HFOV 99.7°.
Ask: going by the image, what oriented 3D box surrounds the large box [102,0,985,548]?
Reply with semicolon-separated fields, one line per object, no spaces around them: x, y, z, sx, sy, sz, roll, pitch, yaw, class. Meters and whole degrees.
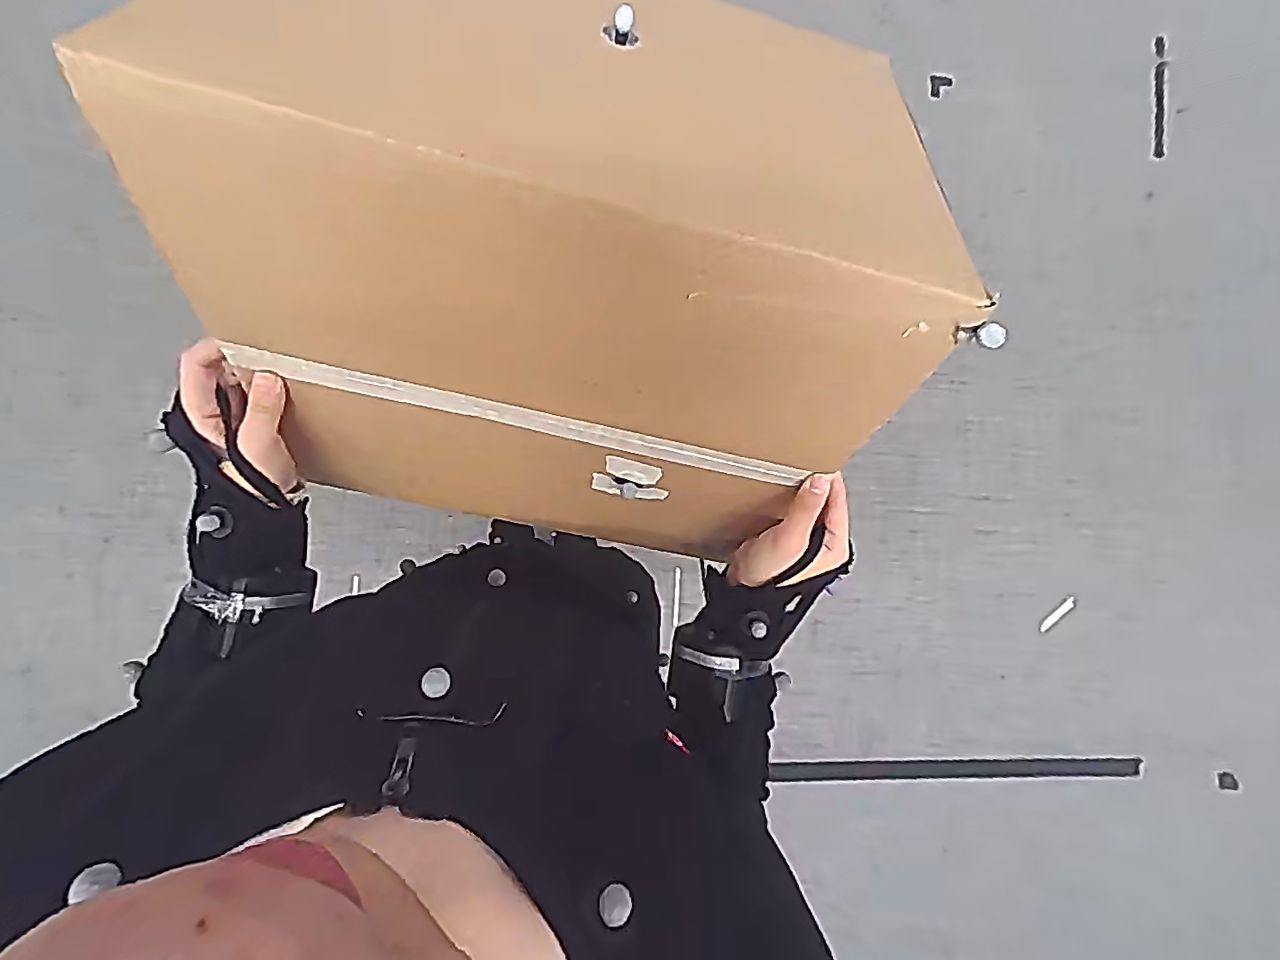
-0.044;-0.174;0.443;0.408;0.320;0.320;11;57;-7;large box
